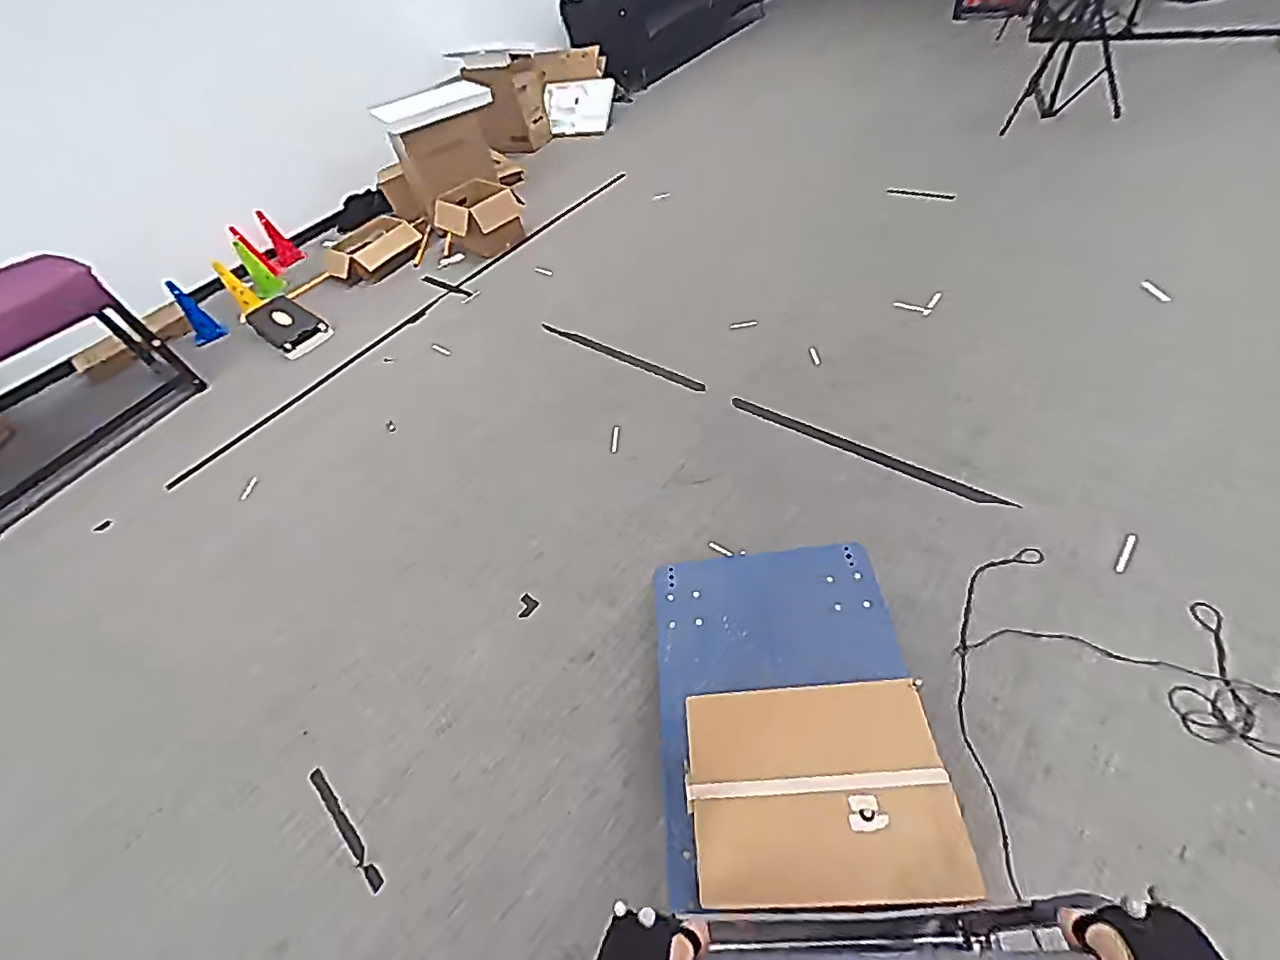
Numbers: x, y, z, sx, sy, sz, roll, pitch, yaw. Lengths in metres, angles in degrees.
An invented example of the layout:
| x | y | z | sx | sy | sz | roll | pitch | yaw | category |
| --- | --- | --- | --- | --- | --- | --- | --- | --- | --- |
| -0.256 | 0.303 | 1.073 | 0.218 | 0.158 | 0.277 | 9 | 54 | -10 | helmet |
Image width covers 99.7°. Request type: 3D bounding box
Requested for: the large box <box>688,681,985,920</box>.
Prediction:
| x | y | z | sx | sy | sz | roll | pitch | yaw | category |
| --- | --- | --- | --- | --- | --- | --- | --- | --- | --- |
| 0.312 | 0.594 | 0.989 | 0.408 | 0.320 | 0.320 | -7 | 50 | 6 | large box |
